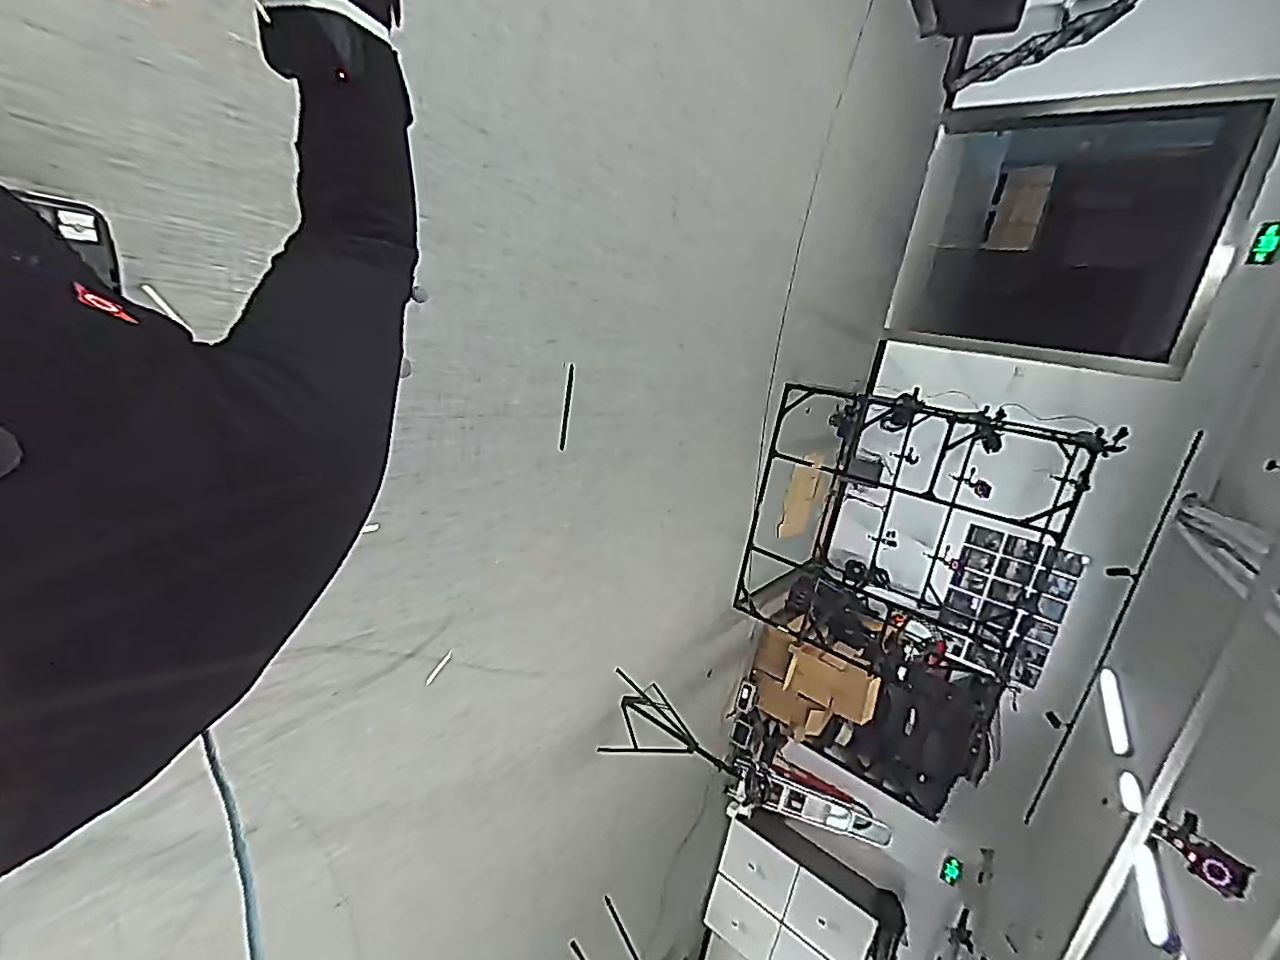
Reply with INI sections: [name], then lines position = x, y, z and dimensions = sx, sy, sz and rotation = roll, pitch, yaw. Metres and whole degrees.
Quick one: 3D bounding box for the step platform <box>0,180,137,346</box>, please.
[step platform]
position = -1.287, -0.389, 0.882
dimensions = 0.684, 0.204, 0.286
rotation = -13, 117, -53
